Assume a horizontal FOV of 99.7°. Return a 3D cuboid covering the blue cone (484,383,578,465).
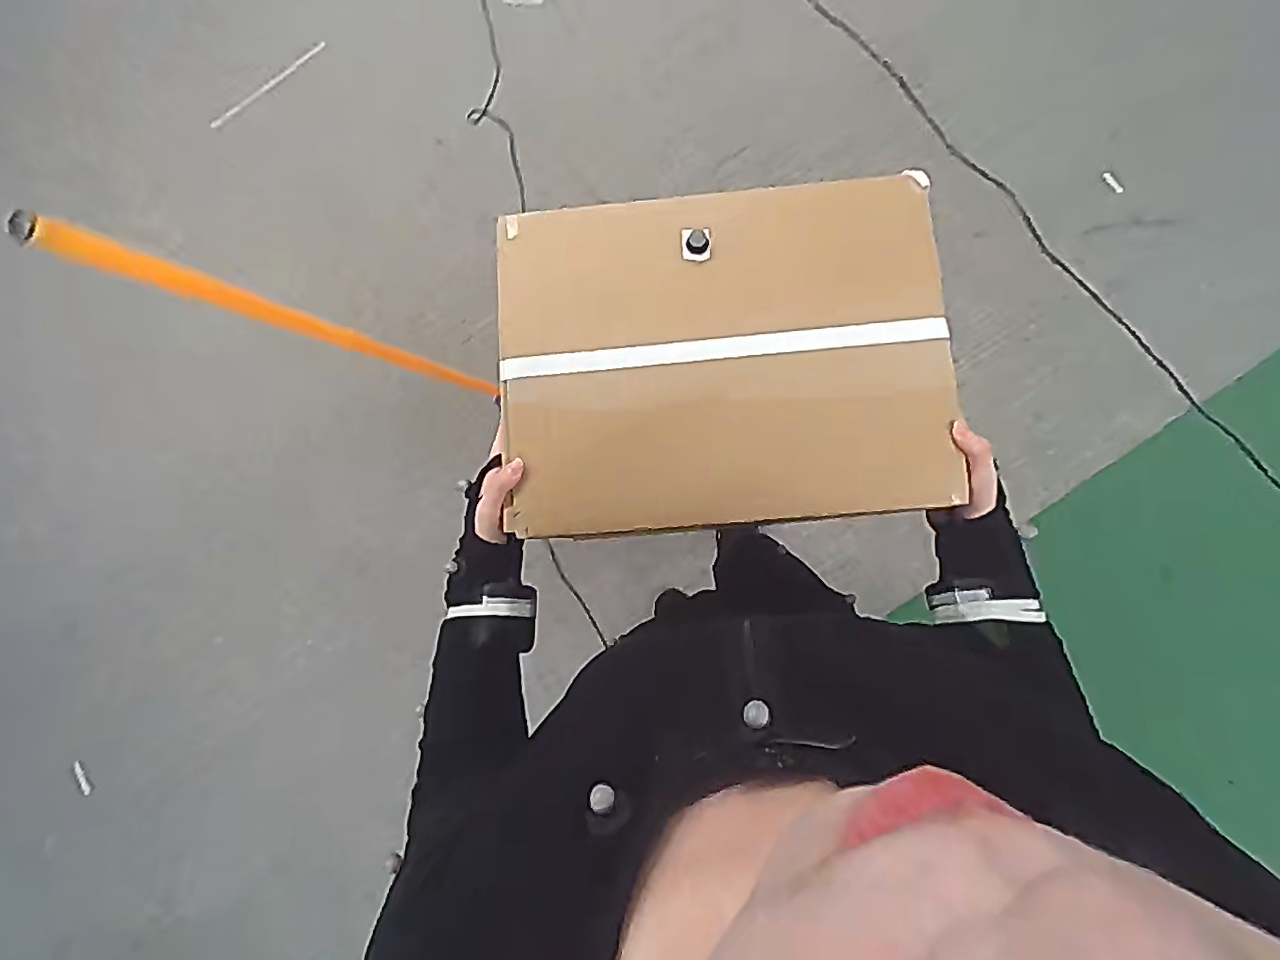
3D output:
[{"bbox_3d":[-0.310,-0.176,1.403,0.193,0.380,0.192,-38,81,2],"label":"blue cone"}]
